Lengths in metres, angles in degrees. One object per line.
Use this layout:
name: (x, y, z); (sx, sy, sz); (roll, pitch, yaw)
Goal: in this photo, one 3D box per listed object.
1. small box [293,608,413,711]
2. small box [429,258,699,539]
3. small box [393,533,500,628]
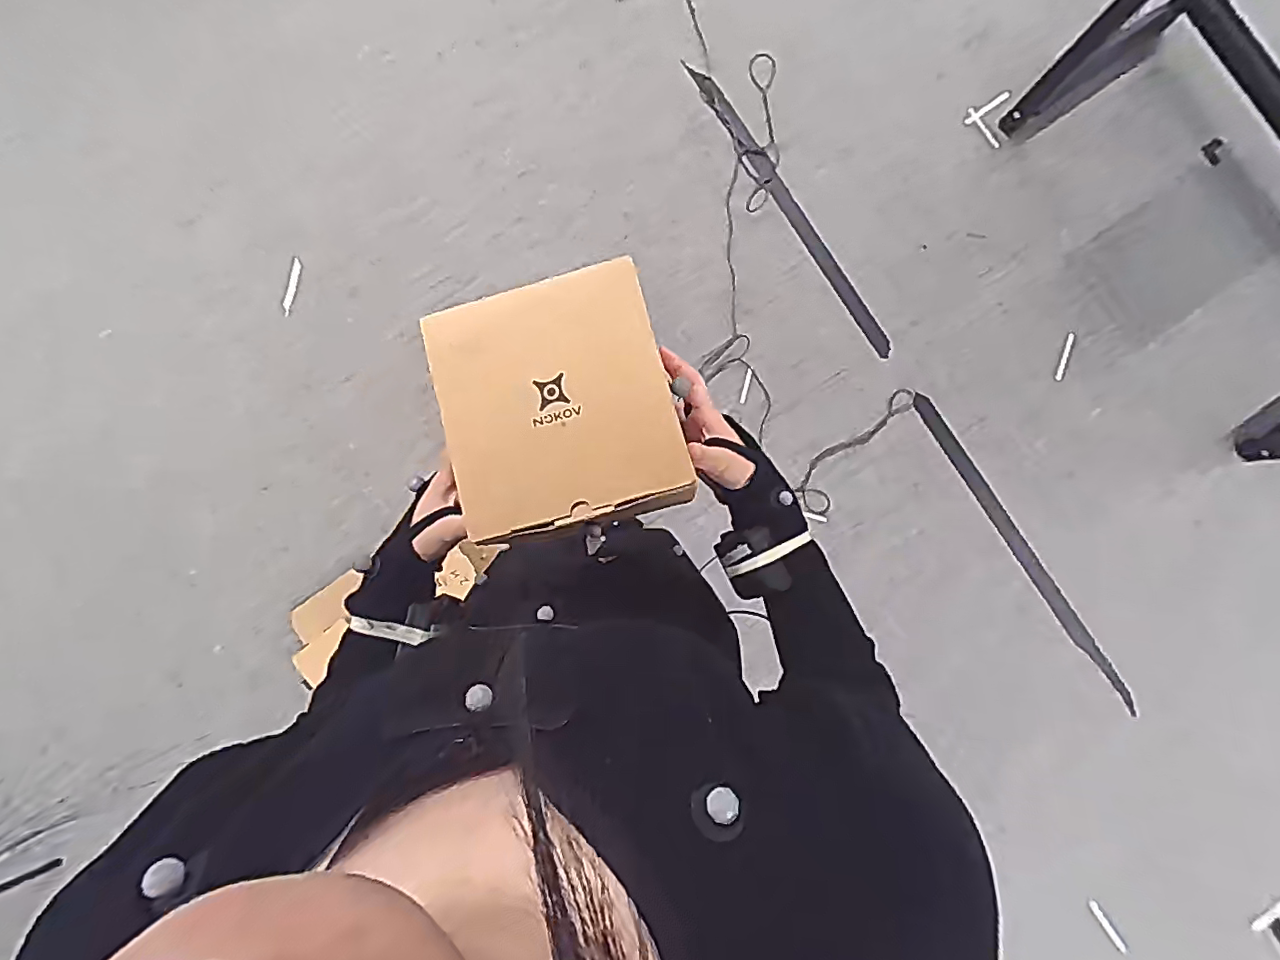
small box: (-0.728, 0.448, 1.390); (0.168, 0.176, 0.179); (-40, 88, -1)
small box: (-0.053, -0.052, 0.464); (0.168, 0.176, 0.179); (-15, 85, 3)
small box: (-0.490, 0.252, 1.400); (0.179, 0.176, 0.168); (-35, 89, -3)
